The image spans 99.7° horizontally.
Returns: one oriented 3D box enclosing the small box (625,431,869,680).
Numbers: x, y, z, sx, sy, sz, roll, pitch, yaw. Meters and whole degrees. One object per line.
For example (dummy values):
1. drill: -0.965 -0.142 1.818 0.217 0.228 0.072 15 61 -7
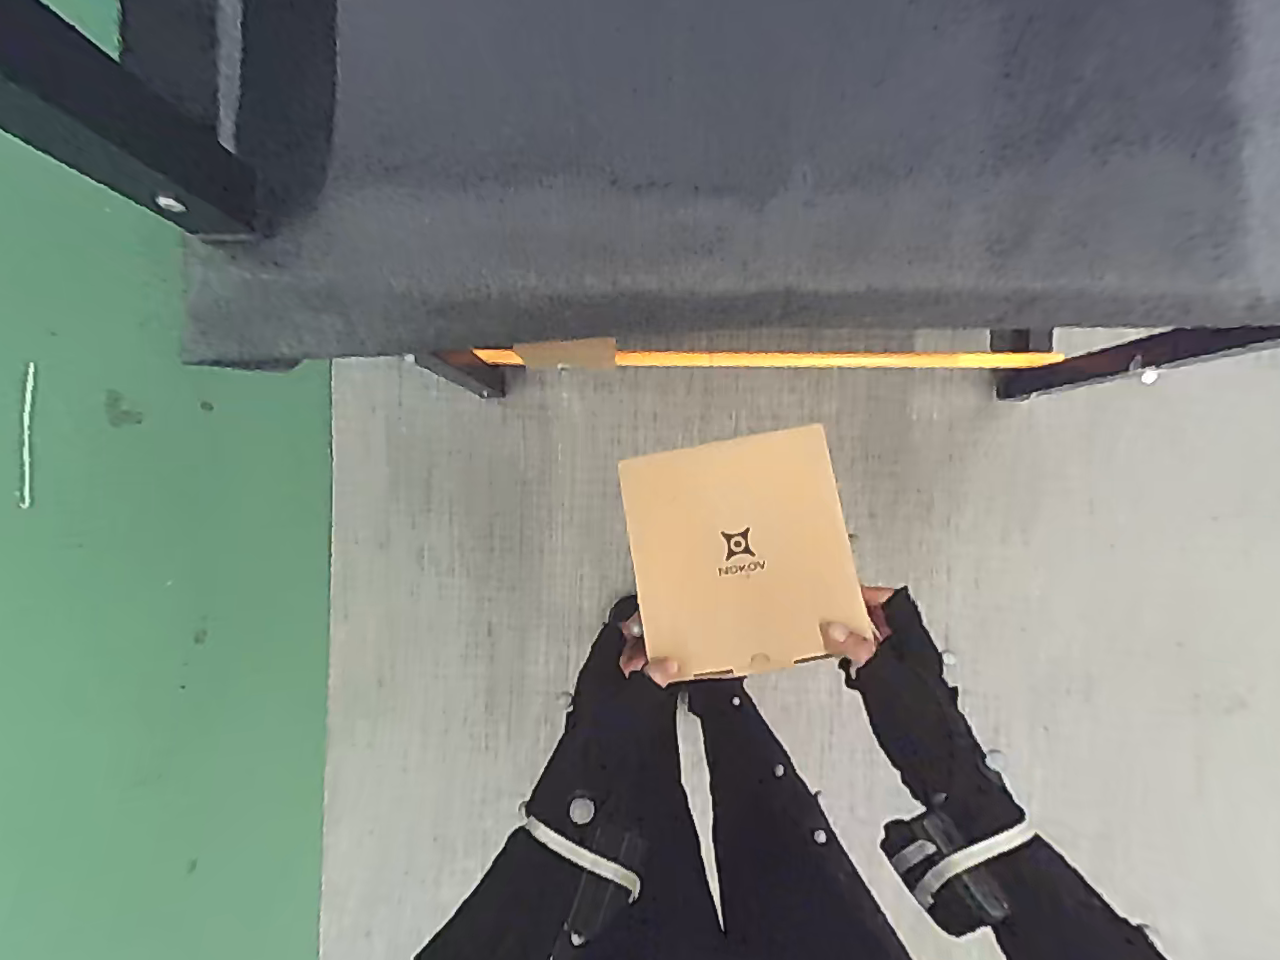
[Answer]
1. small box: 0.086 0.071 0.501 0.168 0.176 0.179 -10 80 5
